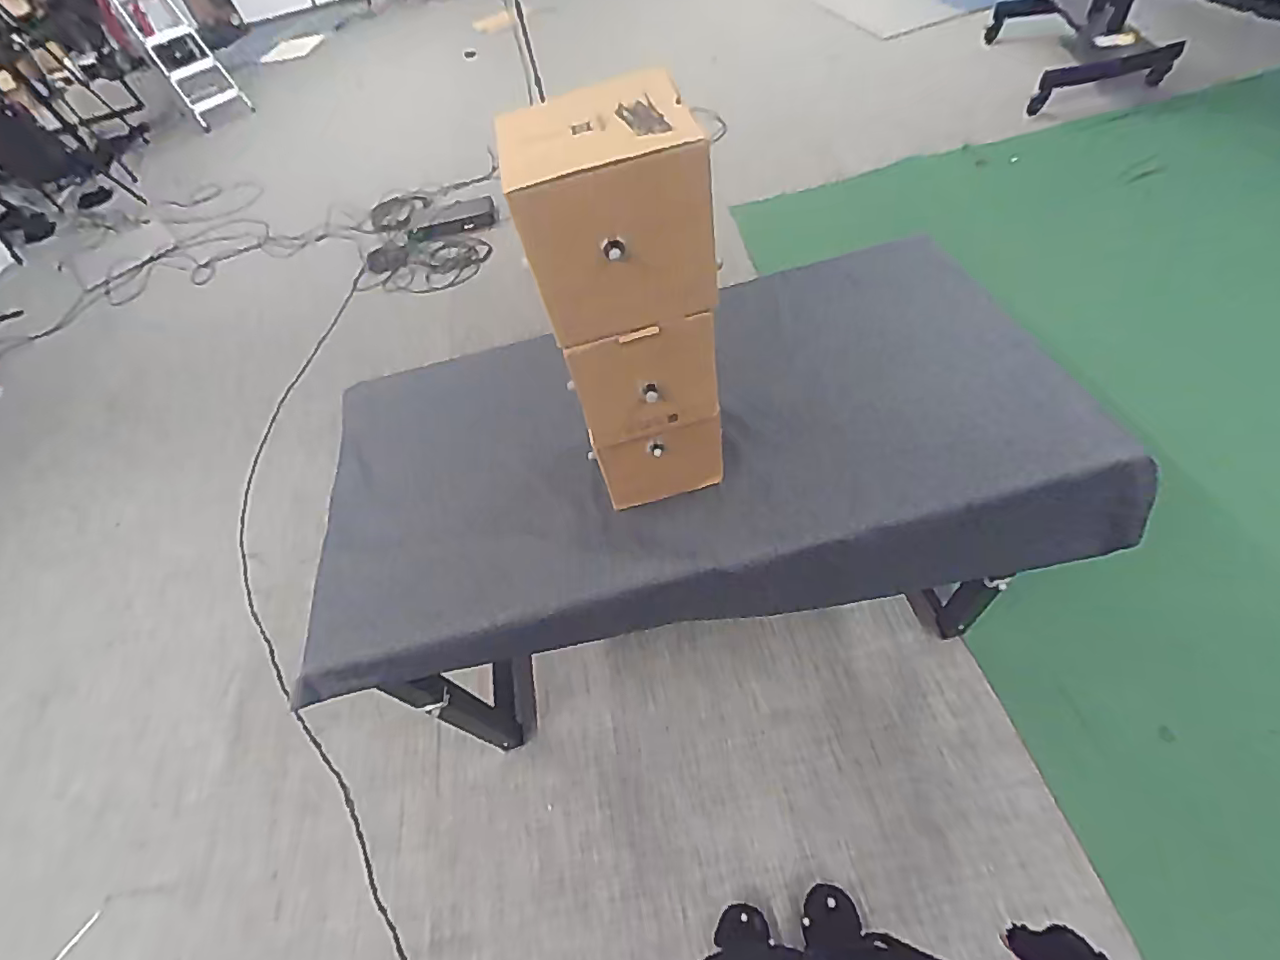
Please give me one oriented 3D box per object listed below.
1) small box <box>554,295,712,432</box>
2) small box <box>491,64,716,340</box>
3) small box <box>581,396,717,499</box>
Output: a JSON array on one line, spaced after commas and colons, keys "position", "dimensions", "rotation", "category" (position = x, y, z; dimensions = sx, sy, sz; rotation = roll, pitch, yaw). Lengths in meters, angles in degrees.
[{"position": [-0.012, -0.179, 0.677], "dimensions": [0.168, 0.176, 0.179], "rotation": [-15, 55, 0], "category": "small box"}, {"position": [-0.032, -0.270, 0.540], "dimensions": [0.179, 0.176, 0.168], "rotation": [-16, 55, -2], "category": "small box"}, {"position": [0.011, -0.092, 0.812], "dimensions": [0.179, 0.176, 0.168], "rotation": [-14, 55, -1], "category": "small box"}]
